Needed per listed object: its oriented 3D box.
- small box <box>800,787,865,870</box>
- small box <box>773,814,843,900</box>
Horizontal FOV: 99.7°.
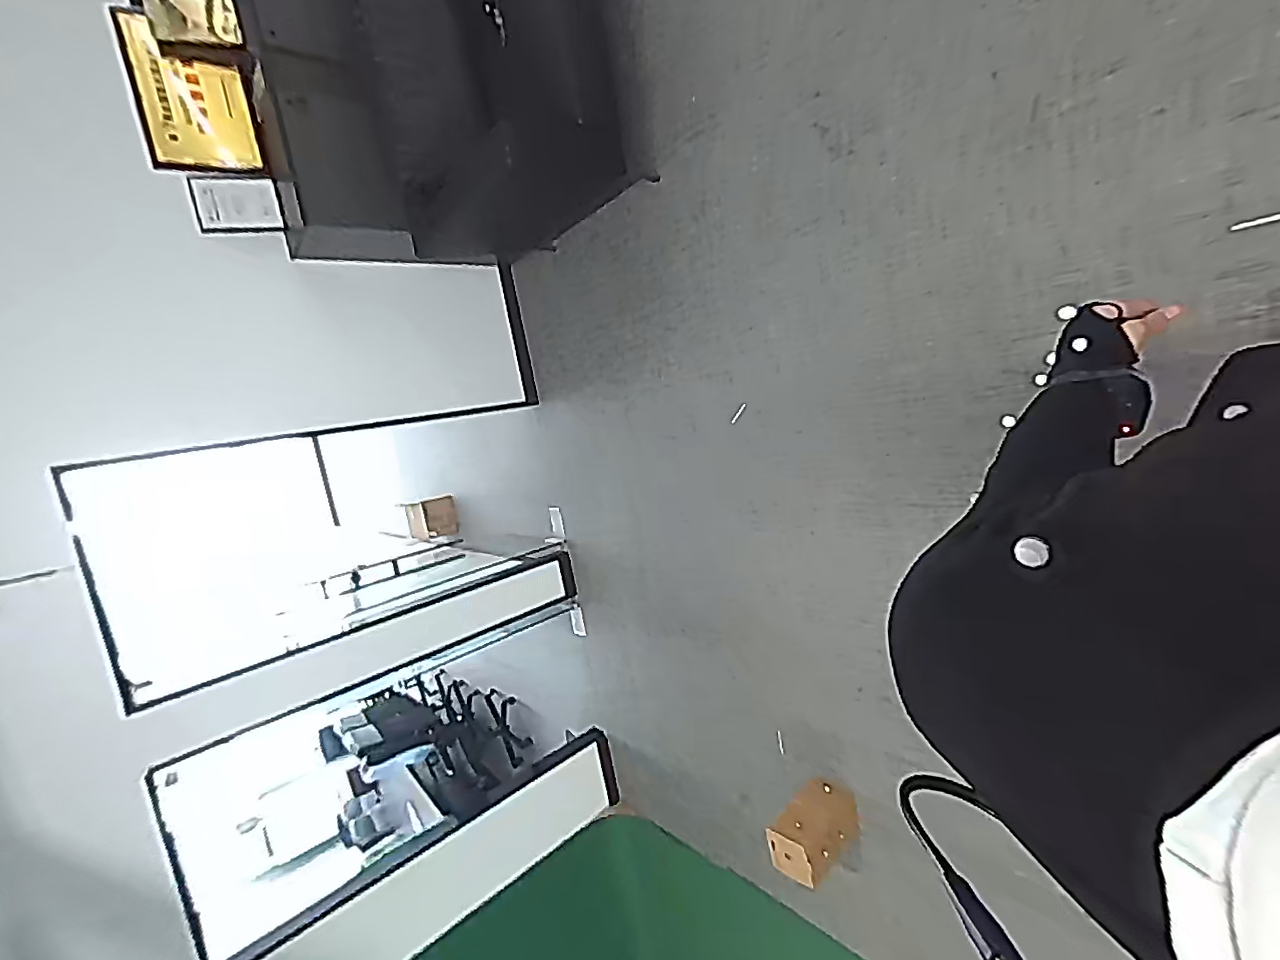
[{"bbox_3d":[0.743,1.327,2.072,0.168,0.176,0.179,-4,97,51],"label":"small box"},{"bbox_3d":[0.619,1.363,1.971,0.179,0.176,0.168,-9,94,51],"label":"small box"}]
